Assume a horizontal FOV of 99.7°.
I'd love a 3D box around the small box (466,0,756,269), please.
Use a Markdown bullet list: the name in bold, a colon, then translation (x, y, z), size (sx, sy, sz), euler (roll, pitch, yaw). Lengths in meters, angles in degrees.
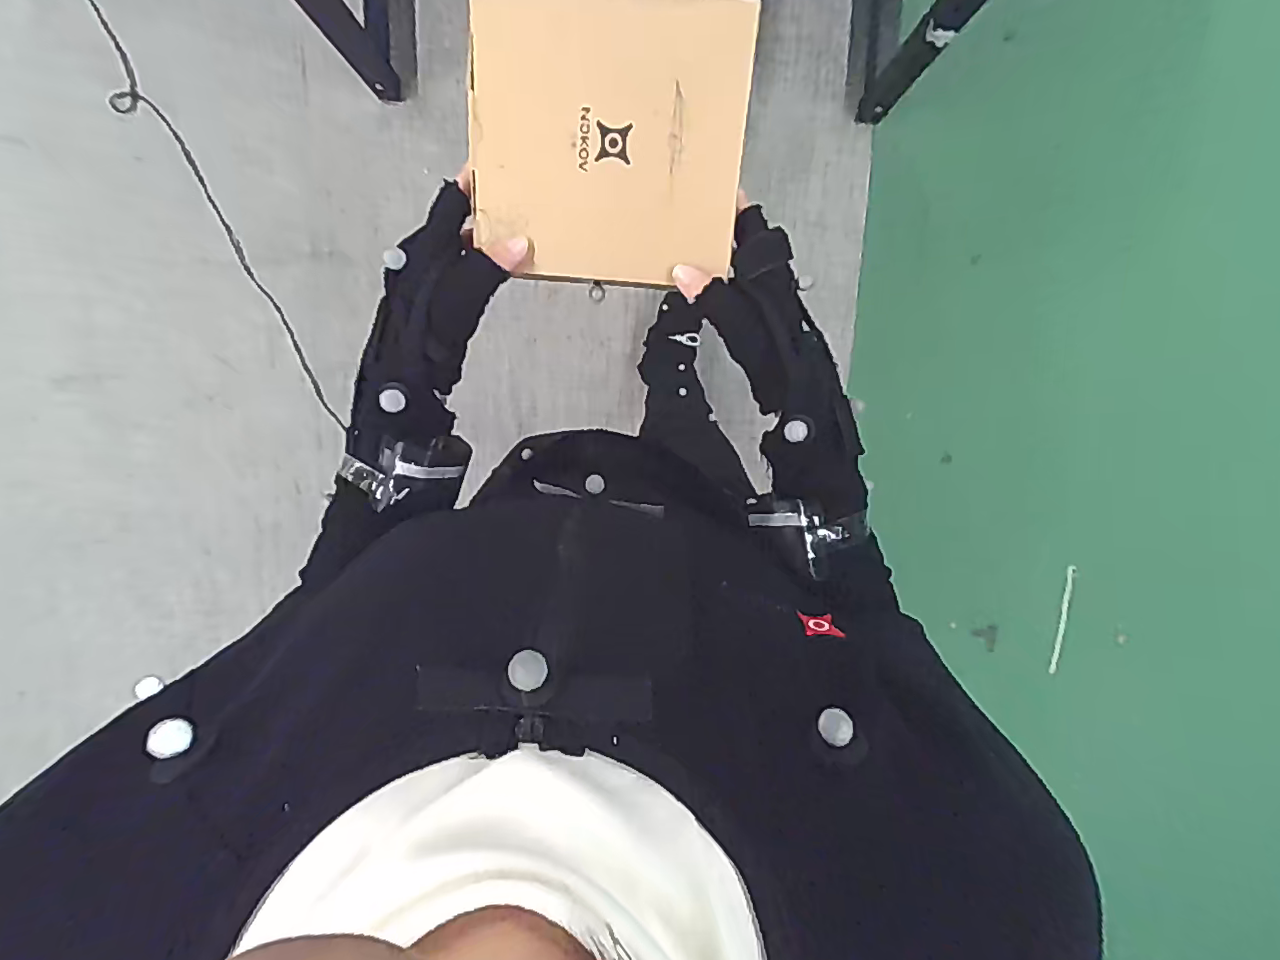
- **small box**: translation (-0.020, -0.256, 0.417), size (0.179, 0.176, 0.168), euler (2, 110, -2)
